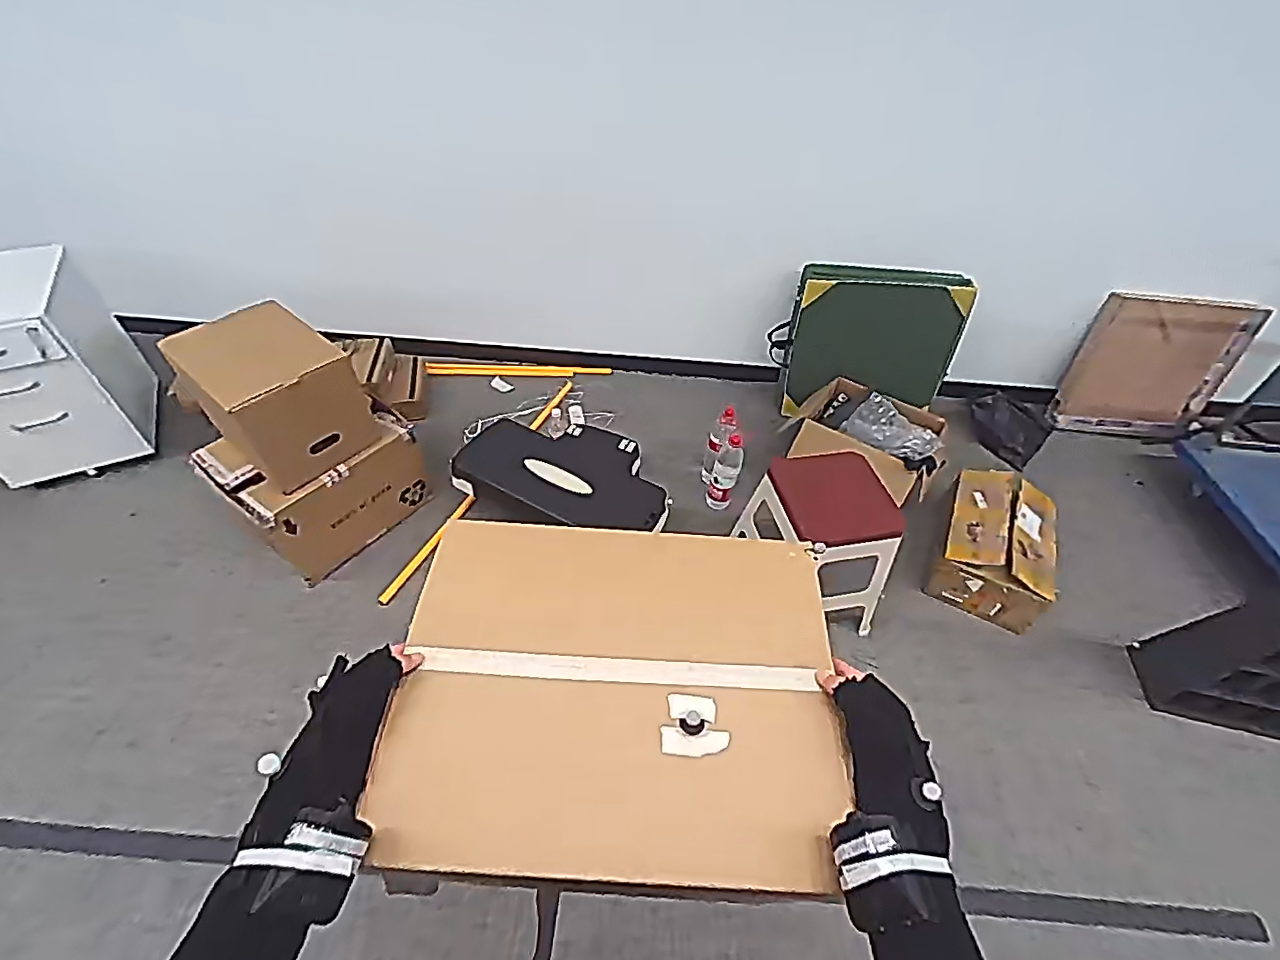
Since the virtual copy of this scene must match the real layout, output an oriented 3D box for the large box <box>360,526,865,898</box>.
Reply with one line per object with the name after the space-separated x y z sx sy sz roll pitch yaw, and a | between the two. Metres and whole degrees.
-0.023 0.275 0.625 0.408 0.320 0.320 4 51 -1 | large box
